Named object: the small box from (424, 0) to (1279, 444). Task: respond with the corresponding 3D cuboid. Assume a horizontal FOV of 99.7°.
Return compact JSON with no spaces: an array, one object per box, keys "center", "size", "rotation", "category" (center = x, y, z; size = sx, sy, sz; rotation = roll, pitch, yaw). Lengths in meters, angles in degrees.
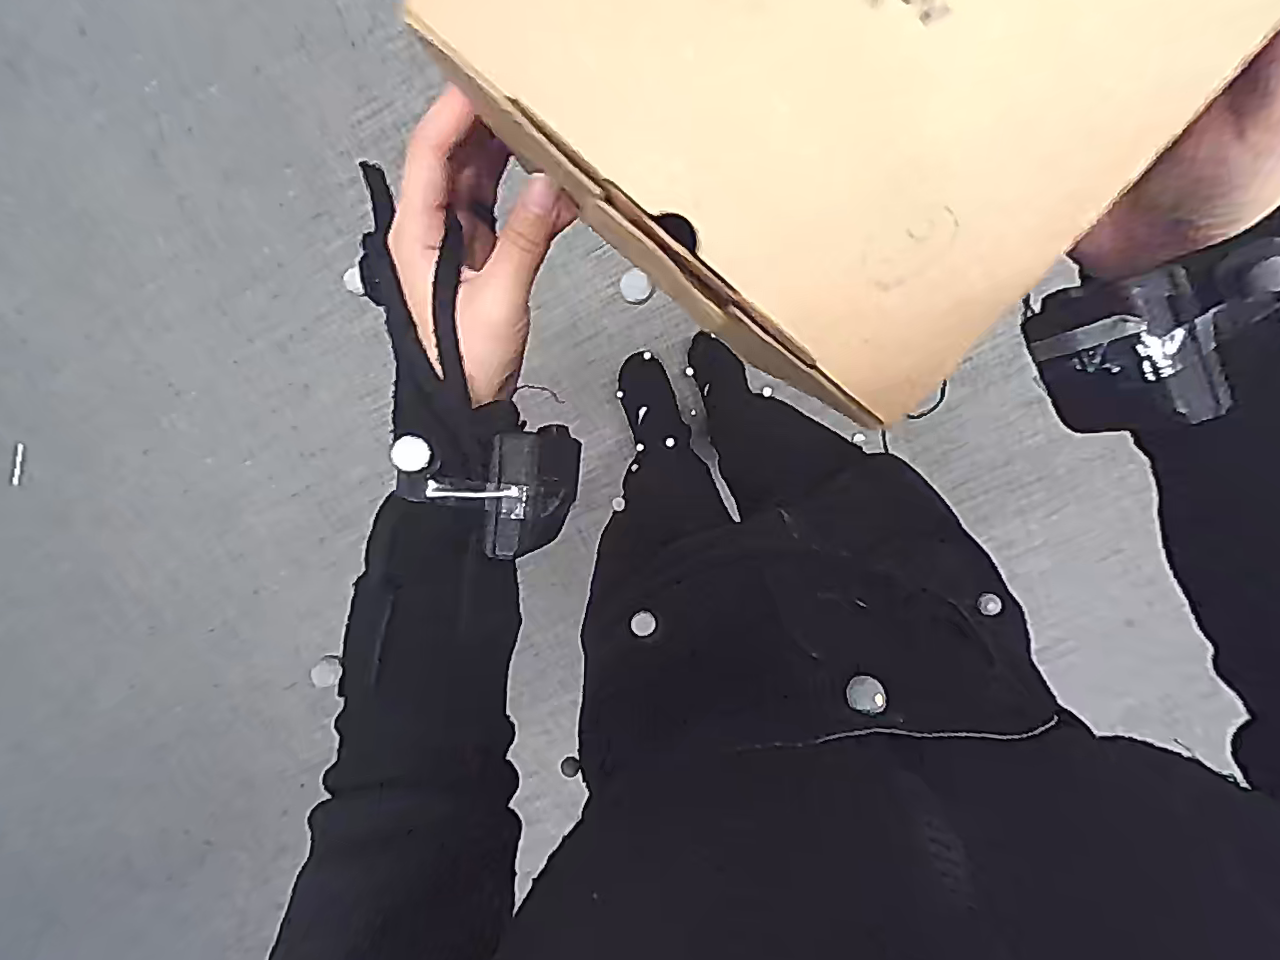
[{"center":[0.060,-0.146,0.205],"size":[0.168,0.176,0.179],"rotation":[37,105,-13],"category":"small box"}]
